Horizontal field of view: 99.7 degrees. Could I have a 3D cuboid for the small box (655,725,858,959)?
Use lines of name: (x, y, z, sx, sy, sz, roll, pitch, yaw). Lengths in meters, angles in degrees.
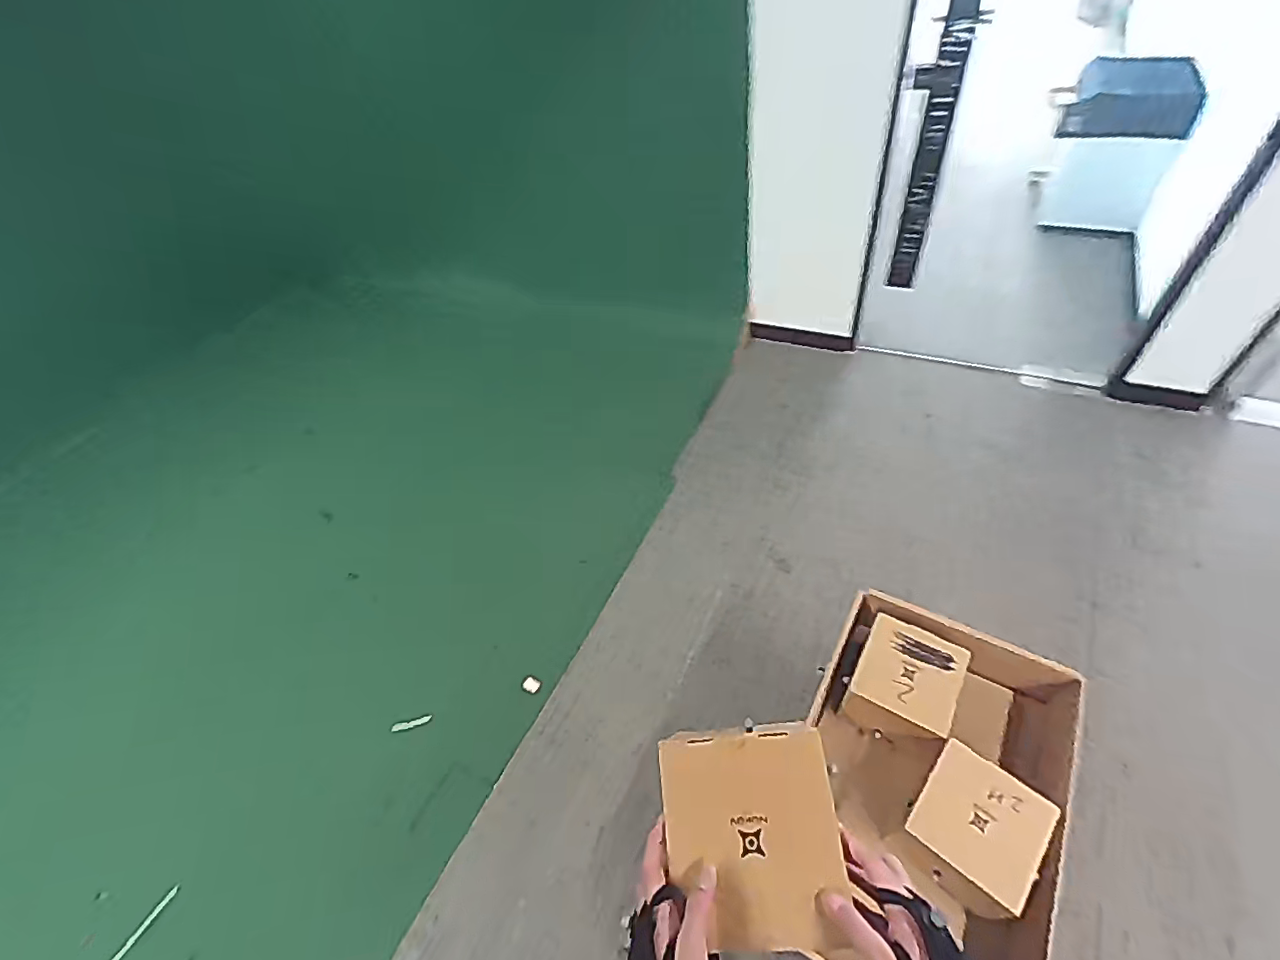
small box: (0.116, 0.367, 0.577, 0.168, 0.176, 0.179, -9, 66, 7)
